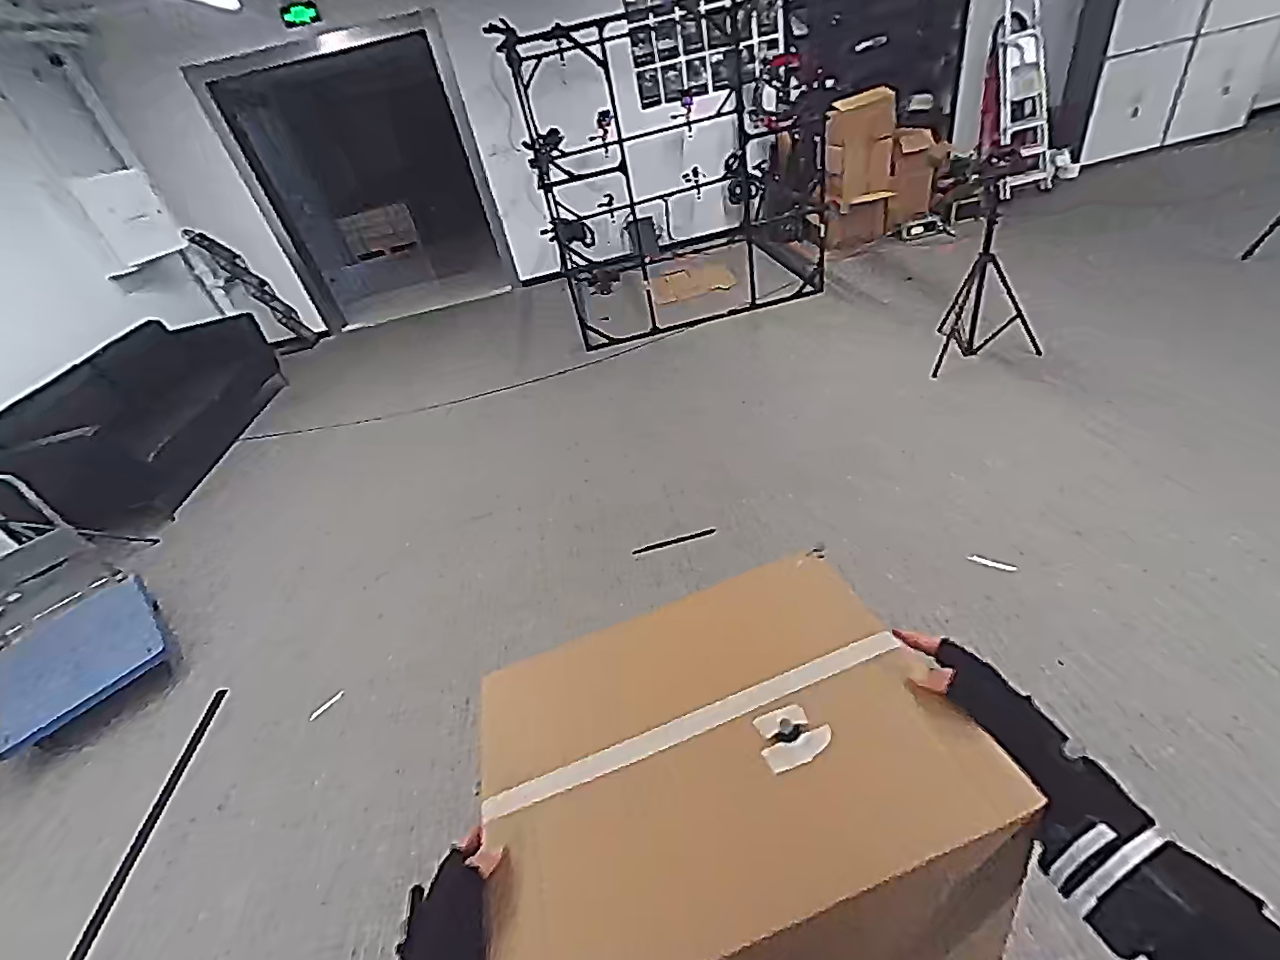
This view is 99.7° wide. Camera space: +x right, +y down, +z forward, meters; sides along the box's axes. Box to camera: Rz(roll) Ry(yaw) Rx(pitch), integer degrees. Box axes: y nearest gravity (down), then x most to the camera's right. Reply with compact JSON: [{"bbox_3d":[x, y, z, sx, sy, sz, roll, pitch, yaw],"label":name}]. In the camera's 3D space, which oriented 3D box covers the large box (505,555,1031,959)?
[{"bbox_3d":[0.104,0.348,0.578,0.408,0.320,0.320,-20,31,-5],"label":"large box"}]
